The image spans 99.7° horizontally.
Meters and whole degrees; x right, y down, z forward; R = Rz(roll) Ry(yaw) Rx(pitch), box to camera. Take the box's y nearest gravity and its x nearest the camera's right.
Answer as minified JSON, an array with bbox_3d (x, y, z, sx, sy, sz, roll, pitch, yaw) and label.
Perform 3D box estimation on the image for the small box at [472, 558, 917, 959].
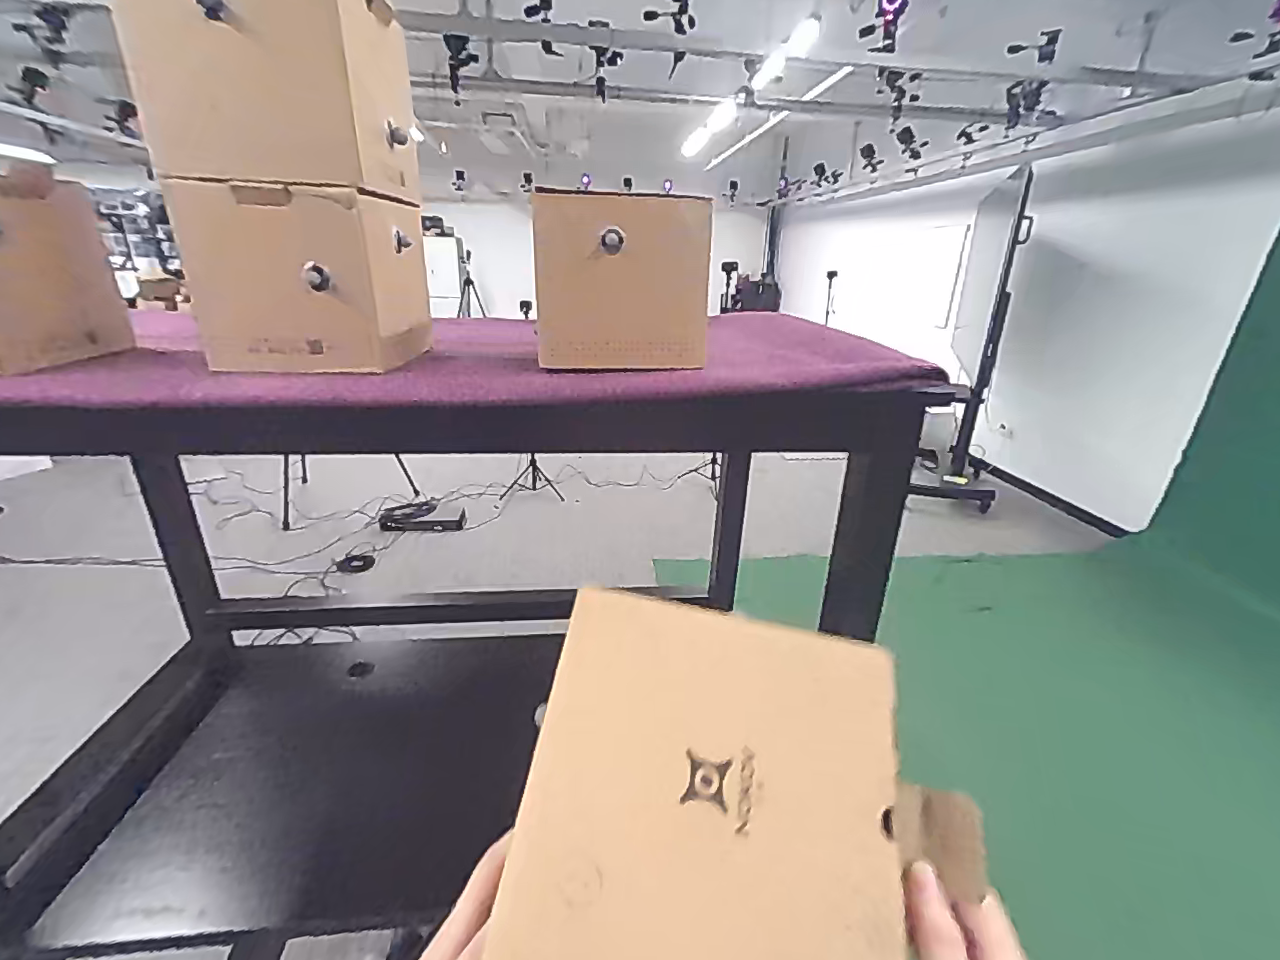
[{"bbox_3d":[0.029,0.167,0.312,0.179,0.176,0.168,12,58,3],"label":"small box"}]

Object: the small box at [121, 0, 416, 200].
[{"bbox_3d":[-0.330,-0.366,0.505,0.179,0.176,0.168,1,23,-4],"label":"small box"}]

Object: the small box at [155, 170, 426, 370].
[{"bbox_3d":[-0.335,-0.212,0.564,0.168,0.176,0.179,1,21,-5],"label":"small box"}]

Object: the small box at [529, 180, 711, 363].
[{"bbox_3d":[-0.025,-0.224,0.605,0.179,0.176,0.168,-1,20,-6],"label":"small box"}]
